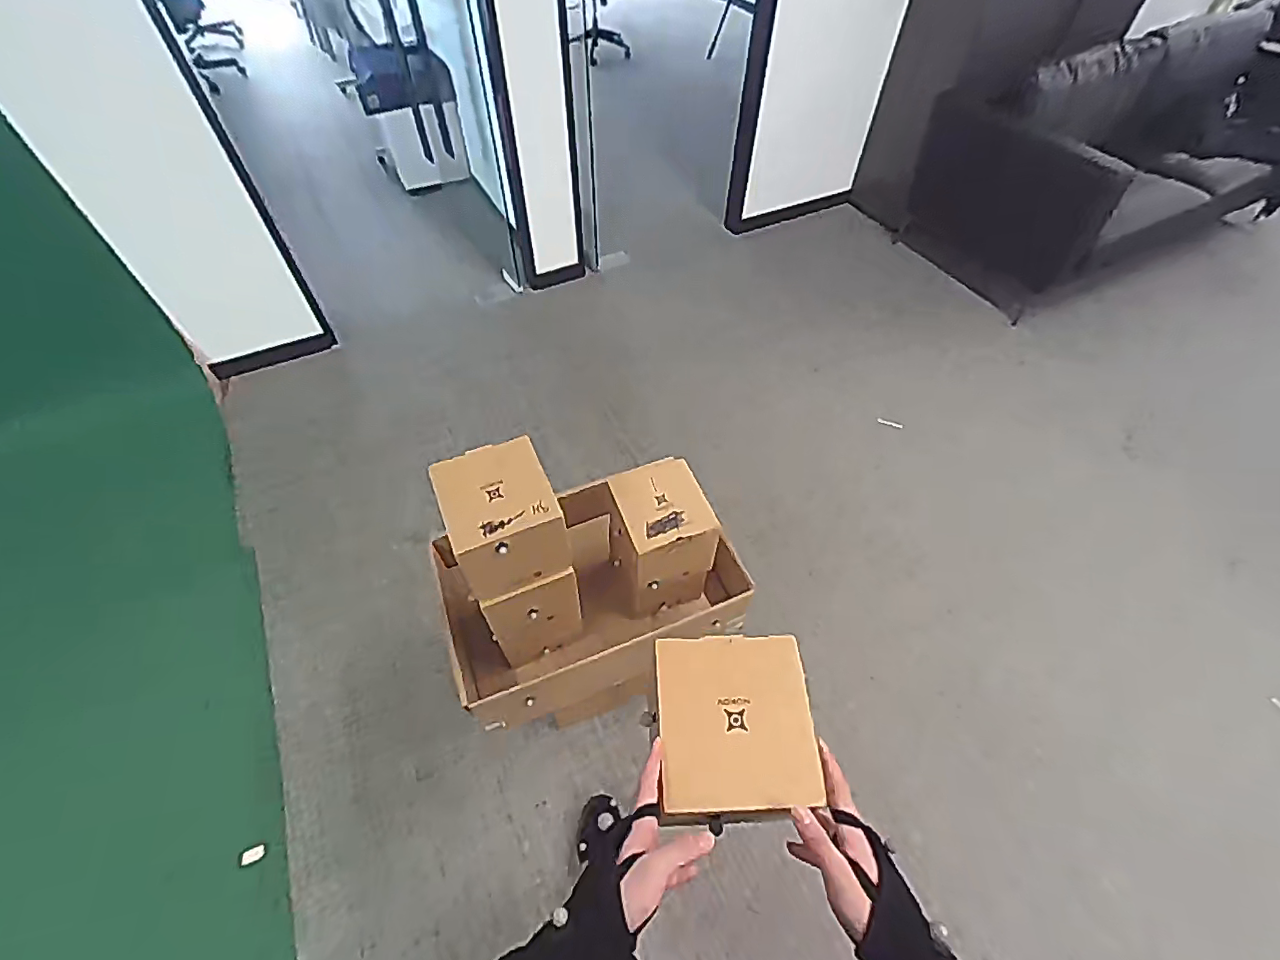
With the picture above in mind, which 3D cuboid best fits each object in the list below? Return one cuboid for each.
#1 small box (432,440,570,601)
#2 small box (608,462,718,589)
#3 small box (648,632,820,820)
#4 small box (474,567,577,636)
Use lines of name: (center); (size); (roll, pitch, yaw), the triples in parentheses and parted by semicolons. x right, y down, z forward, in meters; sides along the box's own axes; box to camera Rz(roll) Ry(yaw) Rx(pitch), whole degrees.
small box: (-0.224, 0.068, 0.890); (0.168, 0.176, 0.179); (-20, 56, -15)
small box: (0.042, 0.098, 1.080); (0.168, 0.176, 0.179); (-16, 54, -12)
small box: (0.094, 0.296, 0.642); (0.168, 0.176, 0.179); (-1, 53, -2)
small box: (-0.224, 0.173, 1.016); (0.168, 0.176, 0.179); (-19, 57, -15)
